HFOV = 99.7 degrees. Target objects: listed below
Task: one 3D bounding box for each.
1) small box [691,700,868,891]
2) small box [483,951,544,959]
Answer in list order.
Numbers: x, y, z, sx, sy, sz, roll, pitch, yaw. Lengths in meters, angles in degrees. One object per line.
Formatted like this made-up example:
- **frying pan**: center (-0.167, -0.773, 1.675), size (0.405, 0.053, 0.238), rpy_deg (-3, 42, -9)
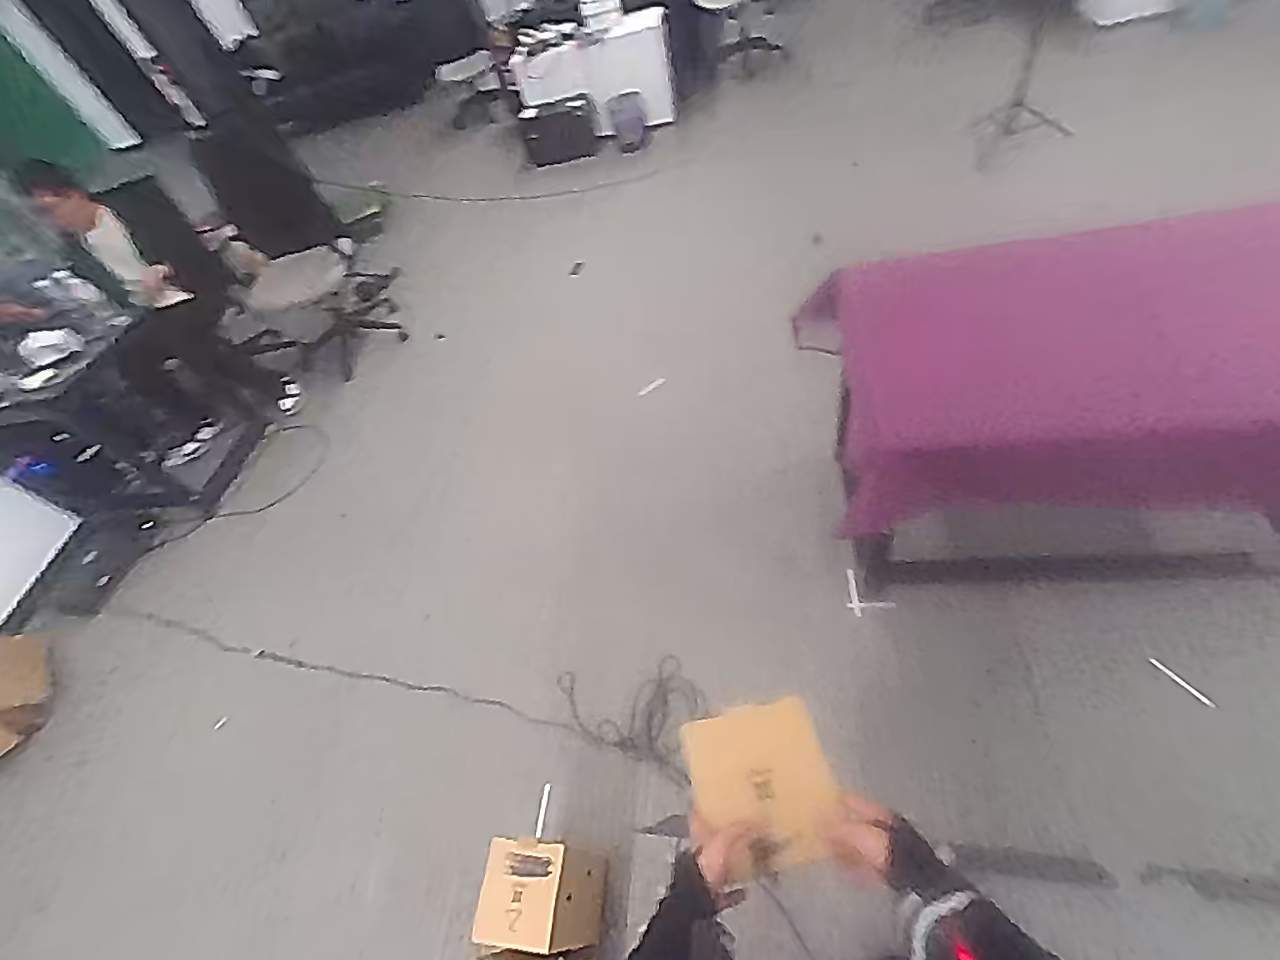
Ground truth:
- **small box**: center (0.169, 0.414, 0.706), size (0.168, 0.176, 0.179), rpy_deg (-14, 52, 1)
- **small box**: center (-0.225, 1.039, 1.033), size (0.168, 0.176, 0.179), rpy_deg (0, 57, 18)
